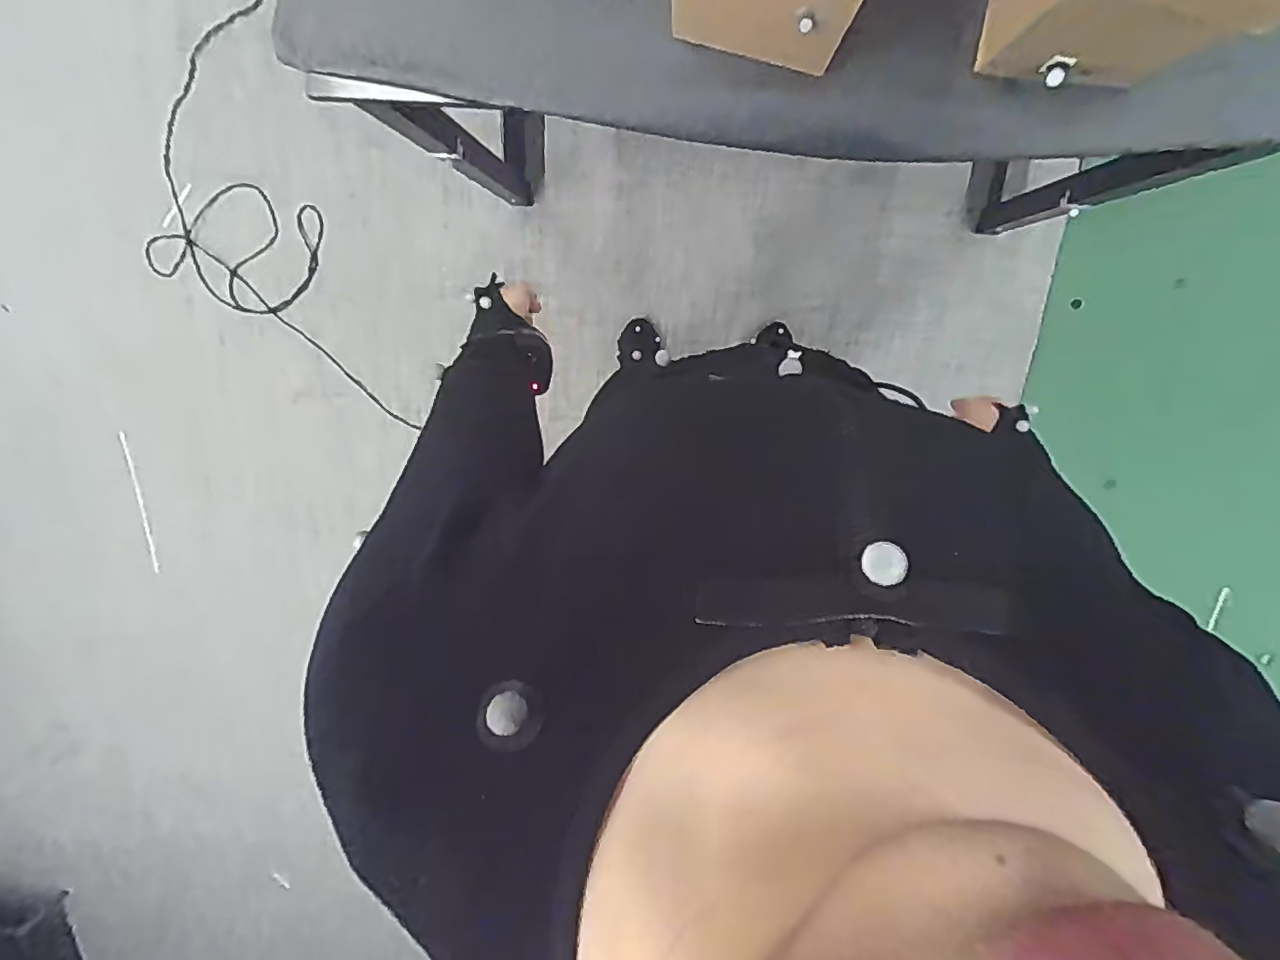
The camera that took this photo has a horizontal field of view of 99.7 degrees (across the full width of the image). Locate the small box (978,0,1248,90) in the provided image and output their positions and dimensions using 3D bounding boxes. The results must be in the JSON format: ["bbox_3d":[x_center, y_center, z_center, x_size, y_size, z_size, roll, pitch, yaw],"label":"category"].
[{"bbox_3d":[0.443,-0.492,0.487,0.168,0.176,0.179,7,106,4],"label":"small box"}]
